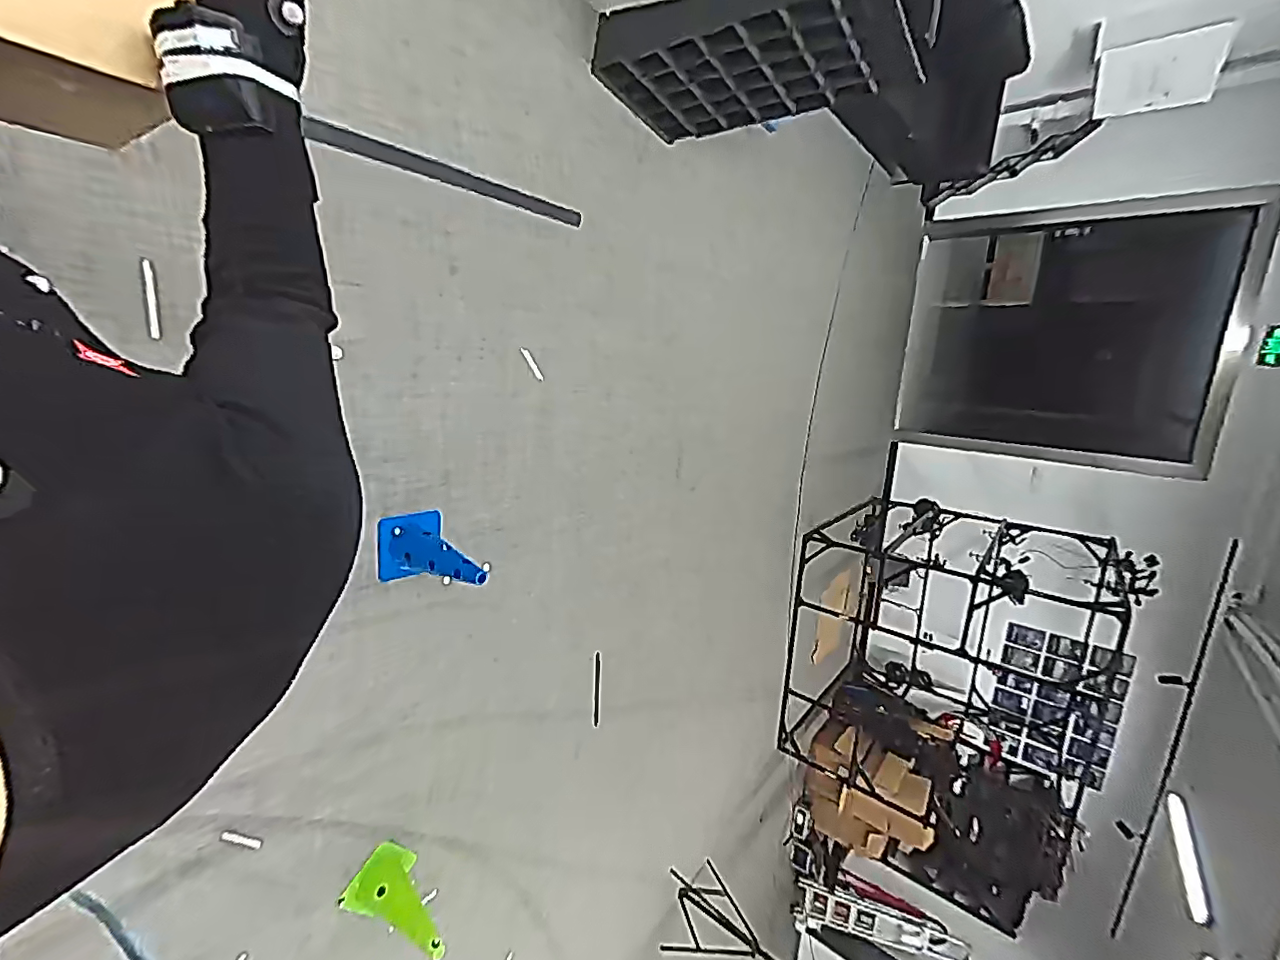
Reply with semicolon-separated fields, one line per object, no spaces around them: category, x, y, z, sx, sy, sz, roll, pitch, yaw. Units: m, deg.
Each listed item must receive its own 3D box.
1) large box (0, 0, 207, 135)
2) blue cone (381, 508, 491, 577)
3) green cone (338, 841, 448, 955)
large box;-0.533;-0.437;0.283;0.408;0.320;0.320;-11;114;-51
blue cone;-0.571;0.216;1.561;0.192;0.380;0.193;-8;107;-53
green cone;-0.719;1.333;1.669;0.202;0.368;0.200;-54;139;-30
